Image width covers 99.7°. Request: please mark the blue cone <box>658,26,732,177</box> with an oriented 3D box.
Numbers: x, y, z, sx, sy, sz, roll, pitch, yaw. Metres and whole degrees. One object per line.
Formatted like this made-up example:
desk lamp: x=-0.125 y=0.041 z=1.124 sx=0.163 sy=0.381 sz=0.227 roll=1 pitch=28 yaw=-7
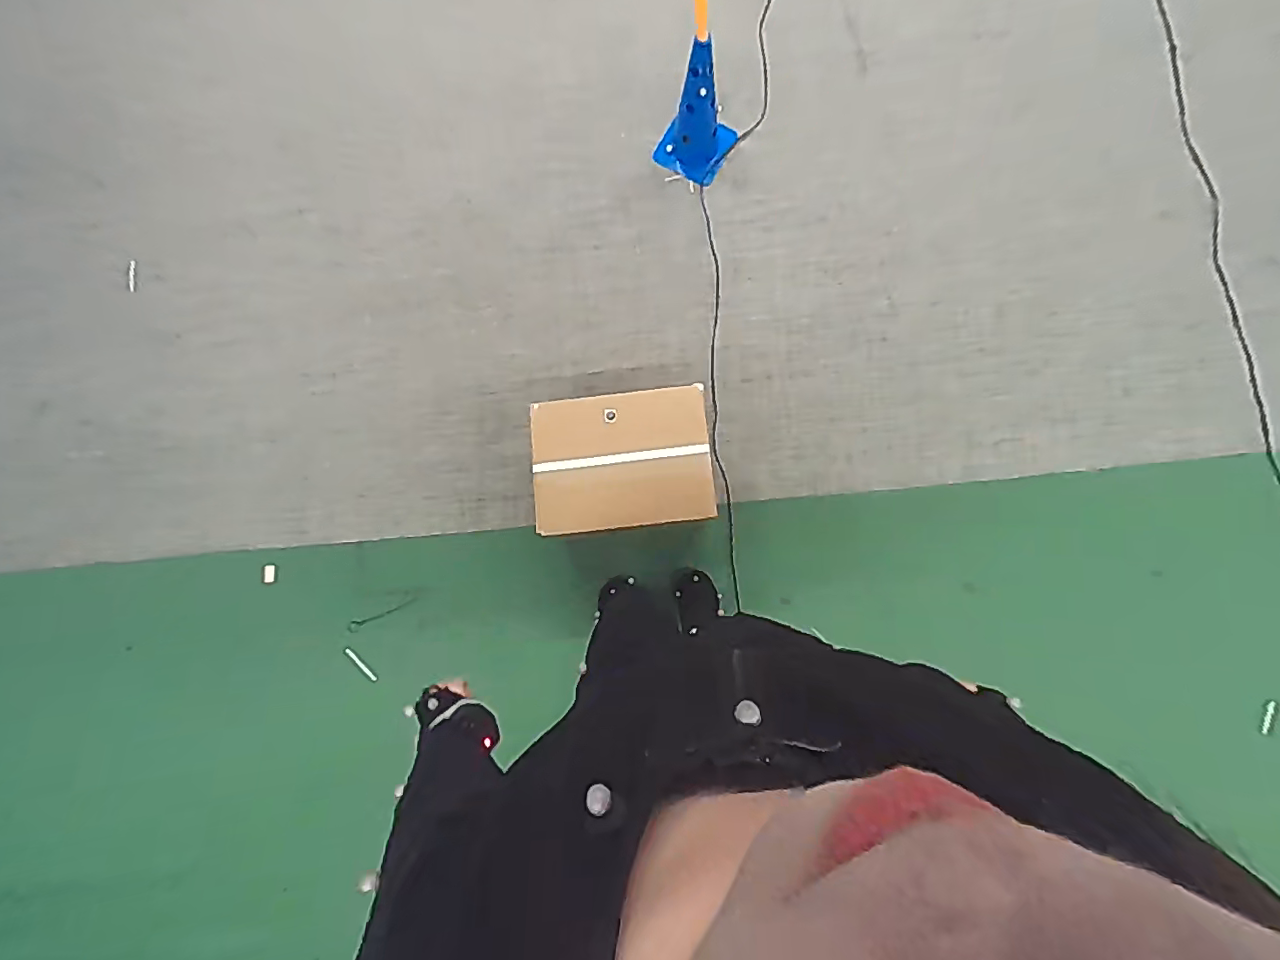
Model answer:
blue cone: x=0.155 y=-1.022 z=1.447 sx=0.192 sy=0.380 sz=0.193 roll=27 pitch=86 yaw=6
